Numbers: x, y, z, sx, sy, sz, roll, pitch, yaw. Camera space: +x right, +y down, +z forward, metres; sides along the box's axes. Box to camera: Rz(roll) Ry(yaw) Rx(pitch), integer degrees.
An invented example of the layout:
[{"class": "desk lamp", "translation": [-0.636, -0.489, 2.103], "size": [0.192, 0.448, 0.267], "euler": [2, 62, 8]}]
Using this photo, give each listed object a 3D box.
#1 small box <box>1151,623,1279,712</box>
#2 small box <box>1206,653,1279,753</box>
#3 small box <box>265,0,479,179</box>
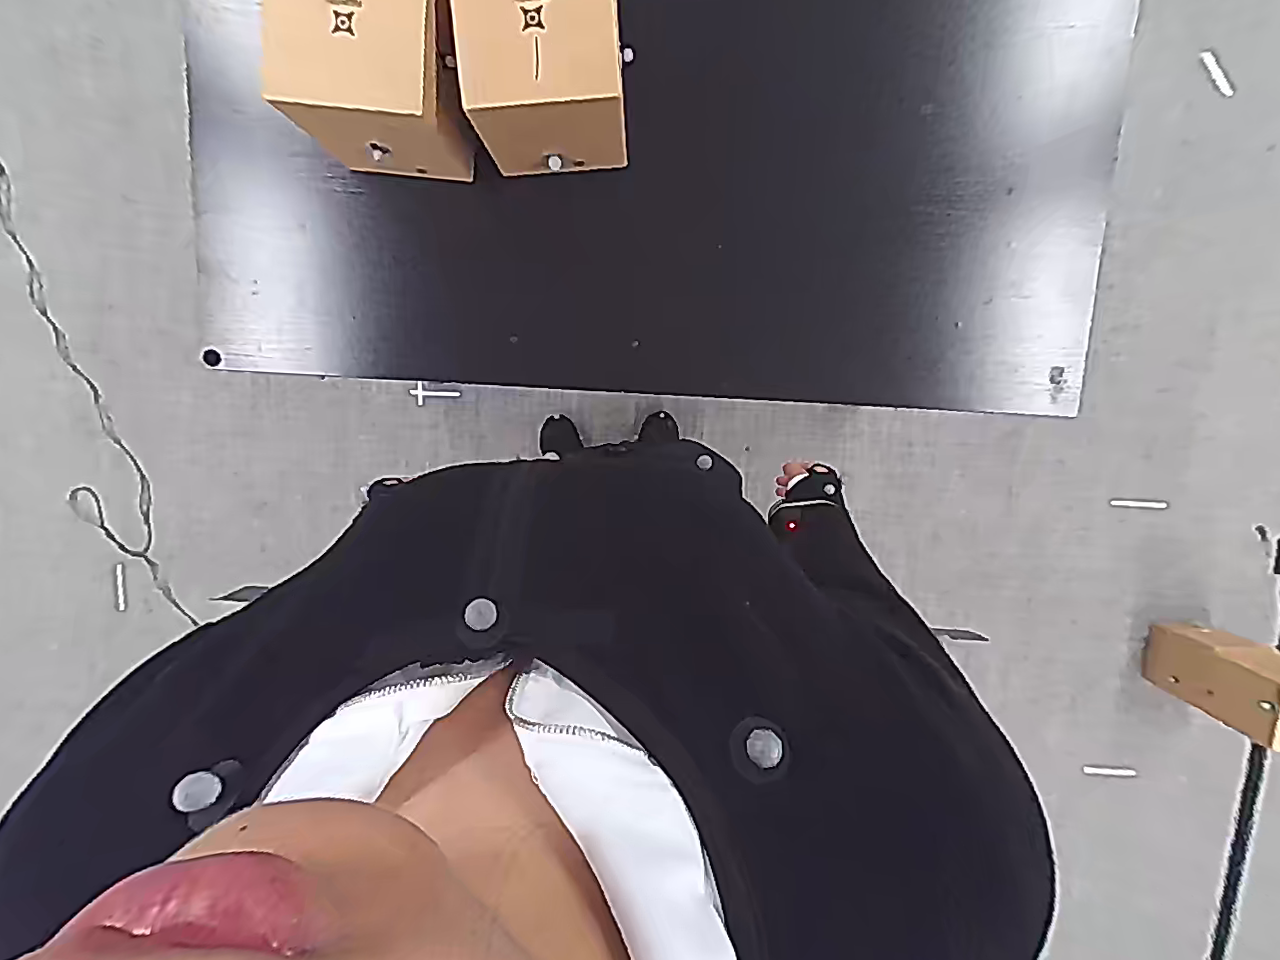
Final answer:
[{"class": "small box", "translation": [1.528, 0.501, 1.443], "size": [0.168, 0.176, 0.179], "euler": [2, 97, 0]}, {"class": "small box", "translation": [1.523, 0.524, 1.281], "size": [0.179, 0.176, 0.168], "euler": [1, 98, 0]}, {"class": "small box", "translation": [-0.294, -0.475, 0.625], "size": [0.168, 0.176, 0.179], "euler": [6, 97, -1]}]
